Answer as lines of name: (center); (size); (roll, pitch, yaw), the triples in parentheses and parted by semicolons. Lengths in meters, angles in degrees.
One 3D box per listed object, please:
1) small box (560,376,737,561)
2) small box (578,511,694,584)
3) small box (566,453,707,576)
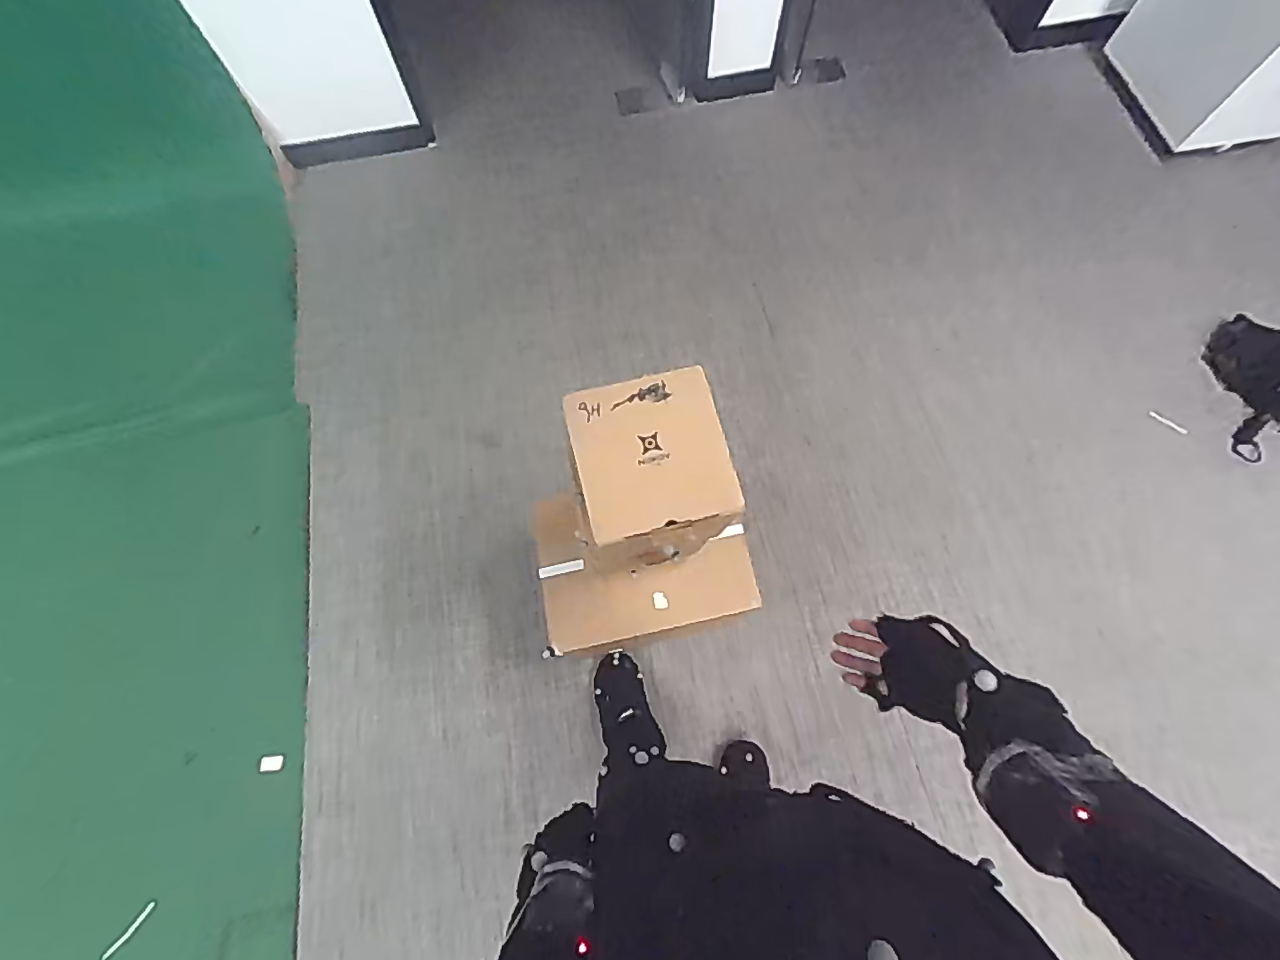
small box: (0.007, -0.001, 0.672); (0.168, 0.176, 0.179); (-14, 76, -4)
small box: (-0.013, 0.090, 0.984); (0.179, 0.176, 0.168); (-12, 76, -4)
small box: (-0.006, 0.044, 0.828); (0.168, 0.176, 0.179); (-14, 75, -5)
